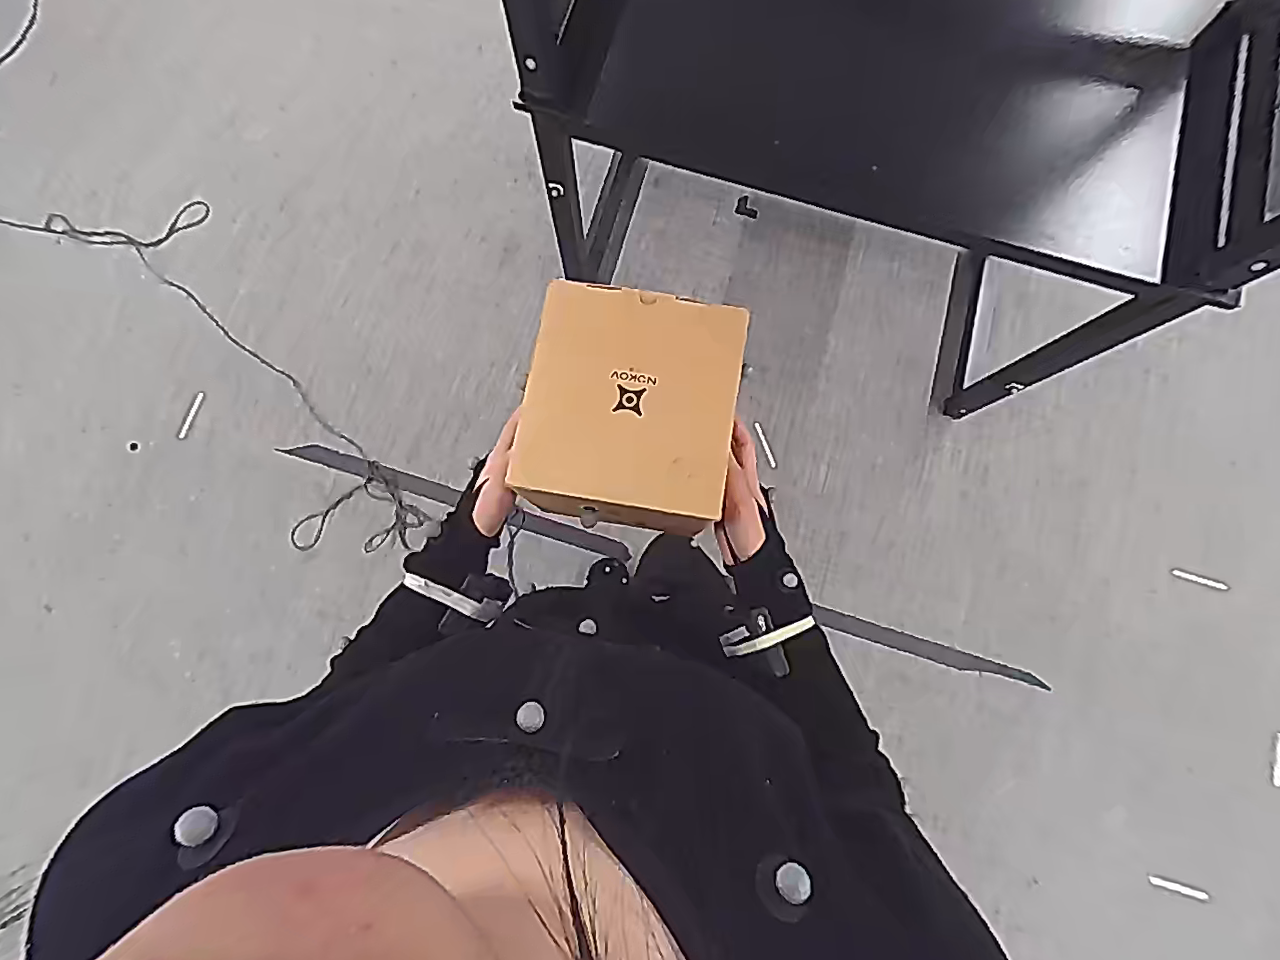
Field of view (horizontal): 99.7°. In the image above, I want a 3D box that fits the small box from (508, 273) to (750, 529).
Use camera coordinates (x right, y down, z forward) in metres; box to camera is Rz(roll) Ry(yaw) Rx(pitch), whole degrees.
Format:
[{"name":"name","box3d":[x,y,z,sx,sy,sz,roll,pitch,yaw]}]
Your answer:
[{"name":"small box","box3d":[-0.006,-0.056,0.495,0.168,0.176,0.179,9,79,1]}]
